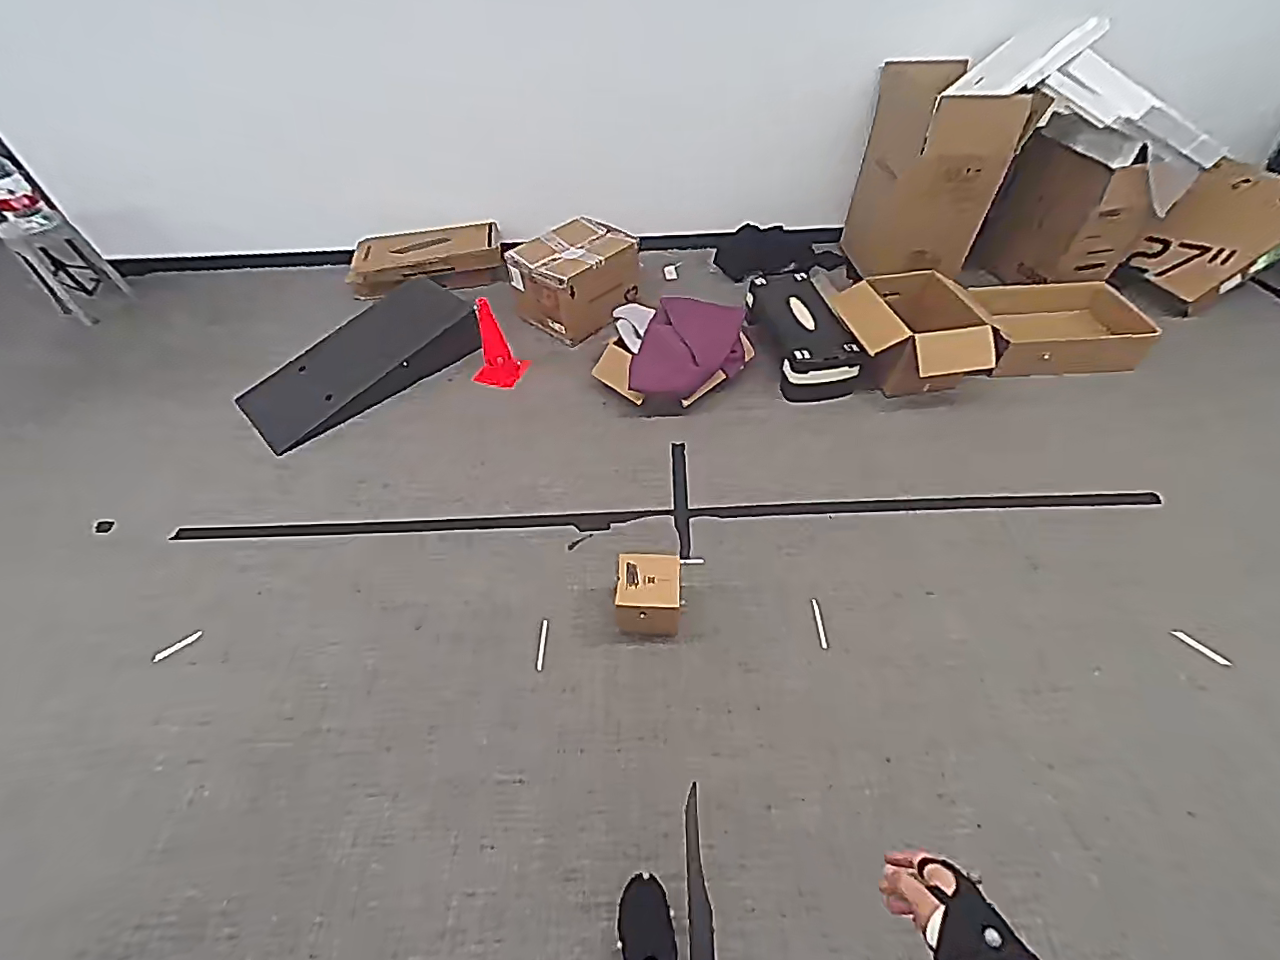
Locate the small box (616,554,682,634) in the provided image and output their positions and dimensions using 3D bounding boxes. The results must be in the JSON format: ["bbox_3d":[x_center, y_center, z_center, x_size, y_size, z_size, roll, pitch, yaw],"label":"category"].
[{"bbox_3d":[0.029,0.330,1.549,0.179,0.176,0.168,1,49,4],"label":"small box"}]
